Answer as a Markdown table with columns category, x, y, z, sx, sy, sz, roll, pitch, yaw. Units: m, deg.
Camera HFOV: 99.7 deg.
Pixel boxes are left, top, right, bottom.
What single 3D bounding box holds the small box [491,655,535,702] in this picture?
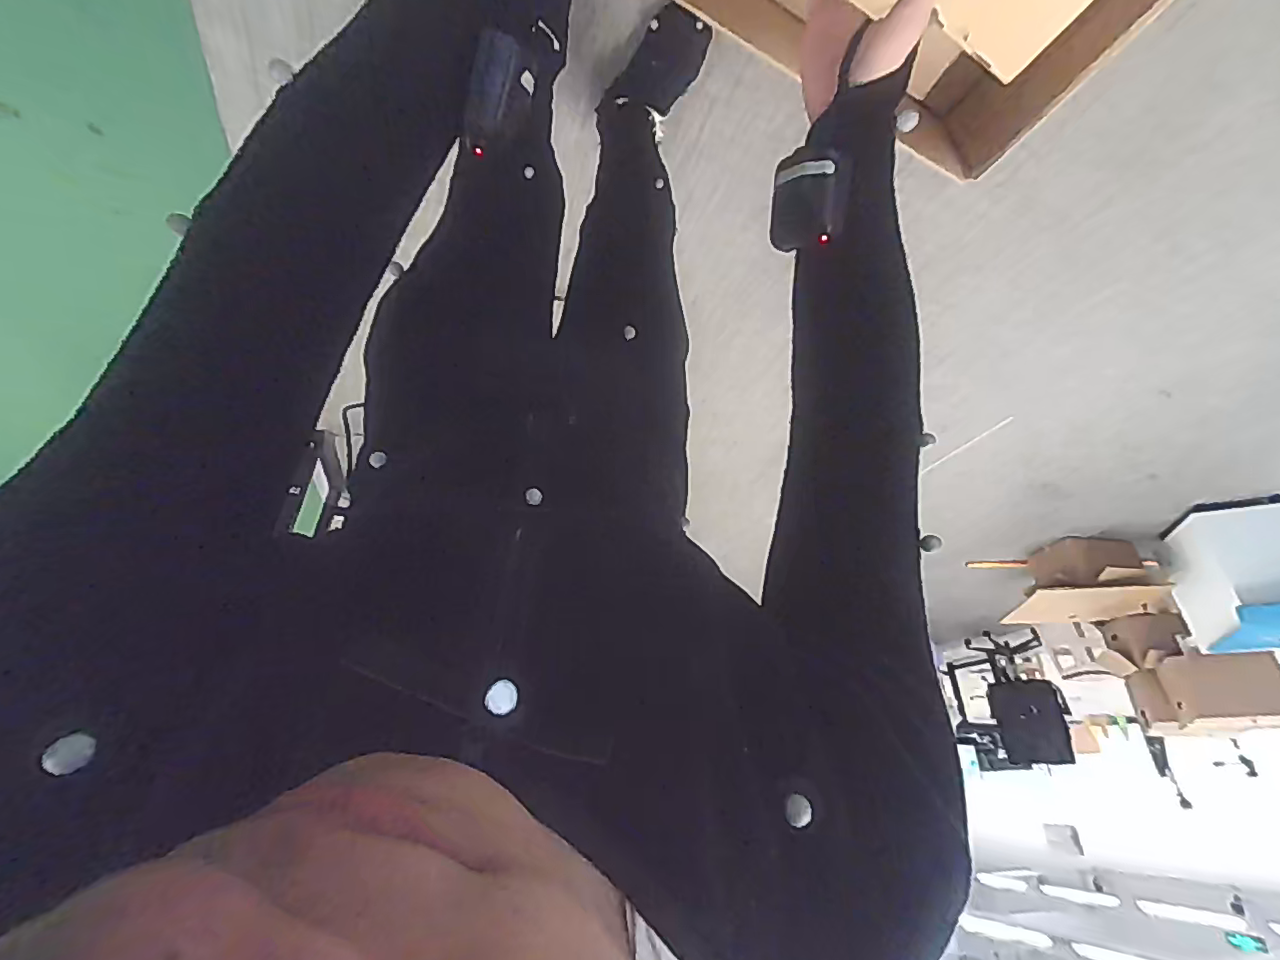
| category | x | y | z | sx | sy | sz | roll | pitch | yaw |
| --- | --- | --- | --- | --- | --- | --- | --- | --- | --- |
| small box | -0.568 | 0.886 | 2.411 | 0.168 | 0.176 | 0.179 | 10 | 150 | -13 |
